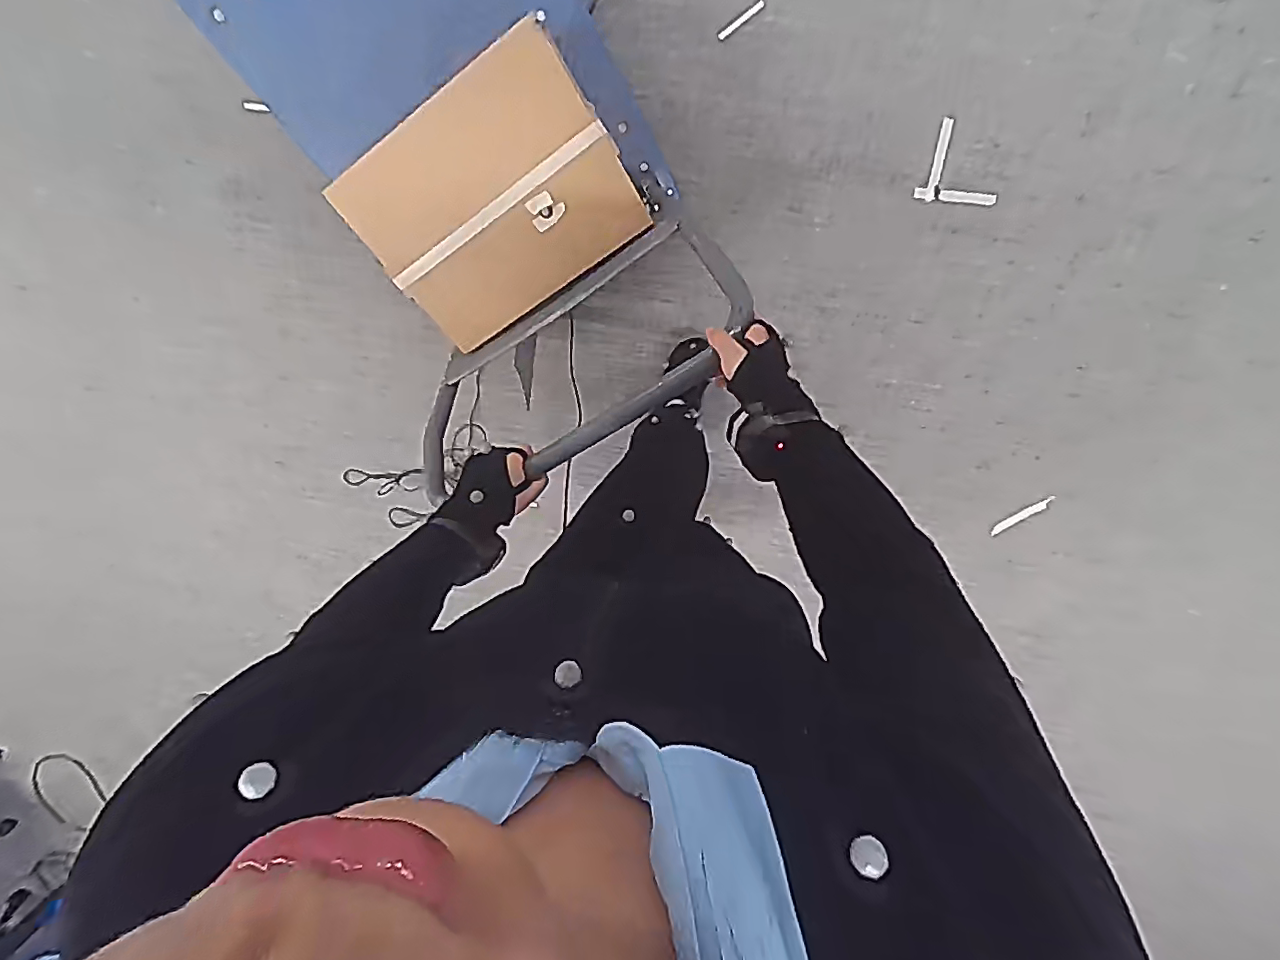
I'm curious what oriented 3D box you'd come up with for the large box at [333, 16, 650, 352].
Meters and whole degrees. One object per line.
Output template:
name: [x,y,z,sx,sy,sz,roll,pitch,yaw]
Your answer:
large box: [-0.243,-0.509,0.977,0.408,0.320,0.320,-31,123,13]
